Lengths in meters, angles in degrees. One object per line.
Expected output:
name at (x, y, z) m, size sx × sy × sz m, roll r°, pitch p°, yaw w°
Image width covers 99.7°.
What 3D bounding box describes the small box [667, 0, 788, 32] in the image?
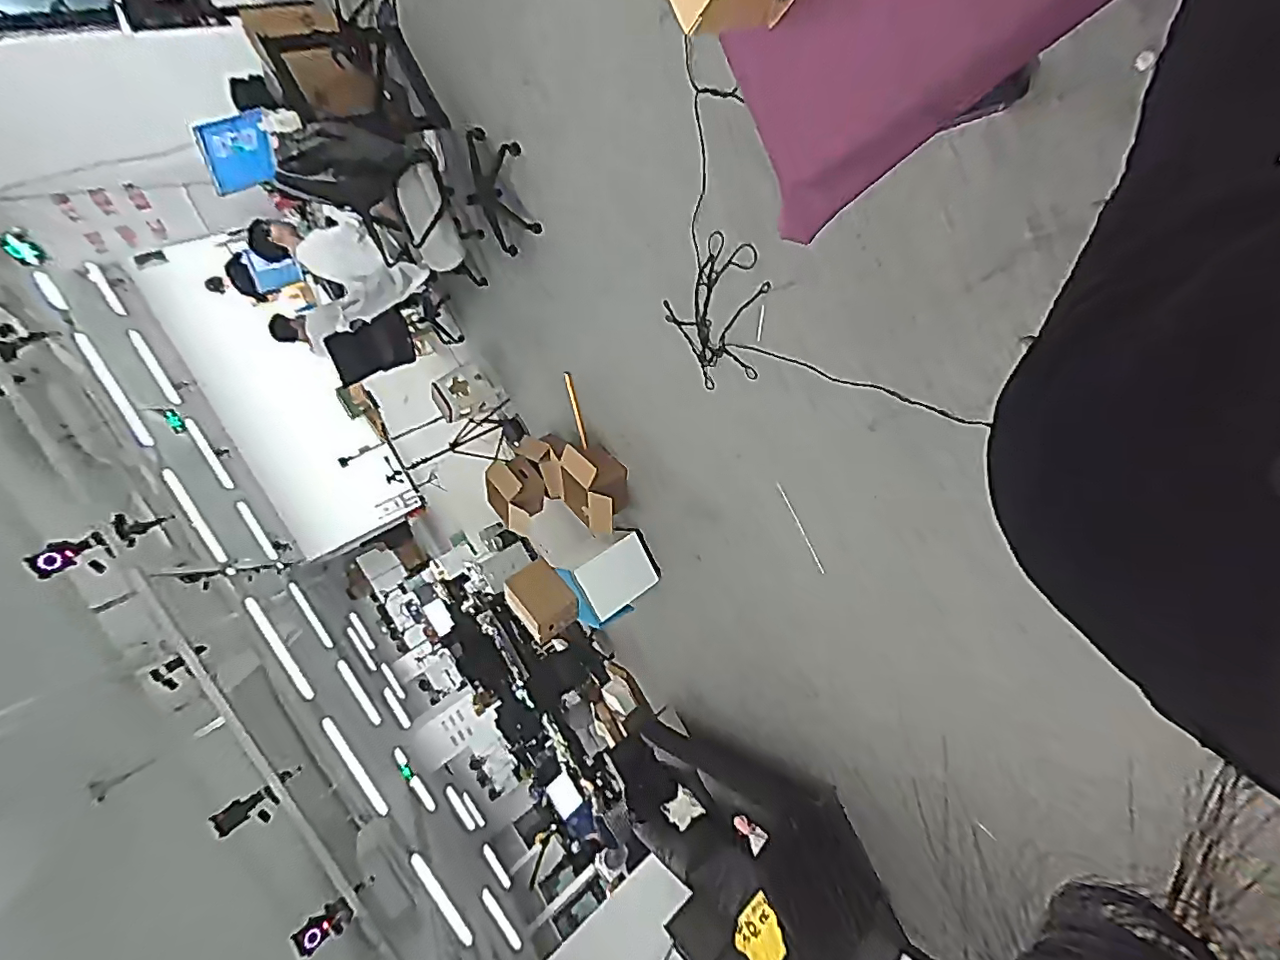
small box at (0.118, -0.692, 0.650) m, size 0.179 × 0.176 × 0.168 m, roll 62°, pitch 152°, yaw -8°
